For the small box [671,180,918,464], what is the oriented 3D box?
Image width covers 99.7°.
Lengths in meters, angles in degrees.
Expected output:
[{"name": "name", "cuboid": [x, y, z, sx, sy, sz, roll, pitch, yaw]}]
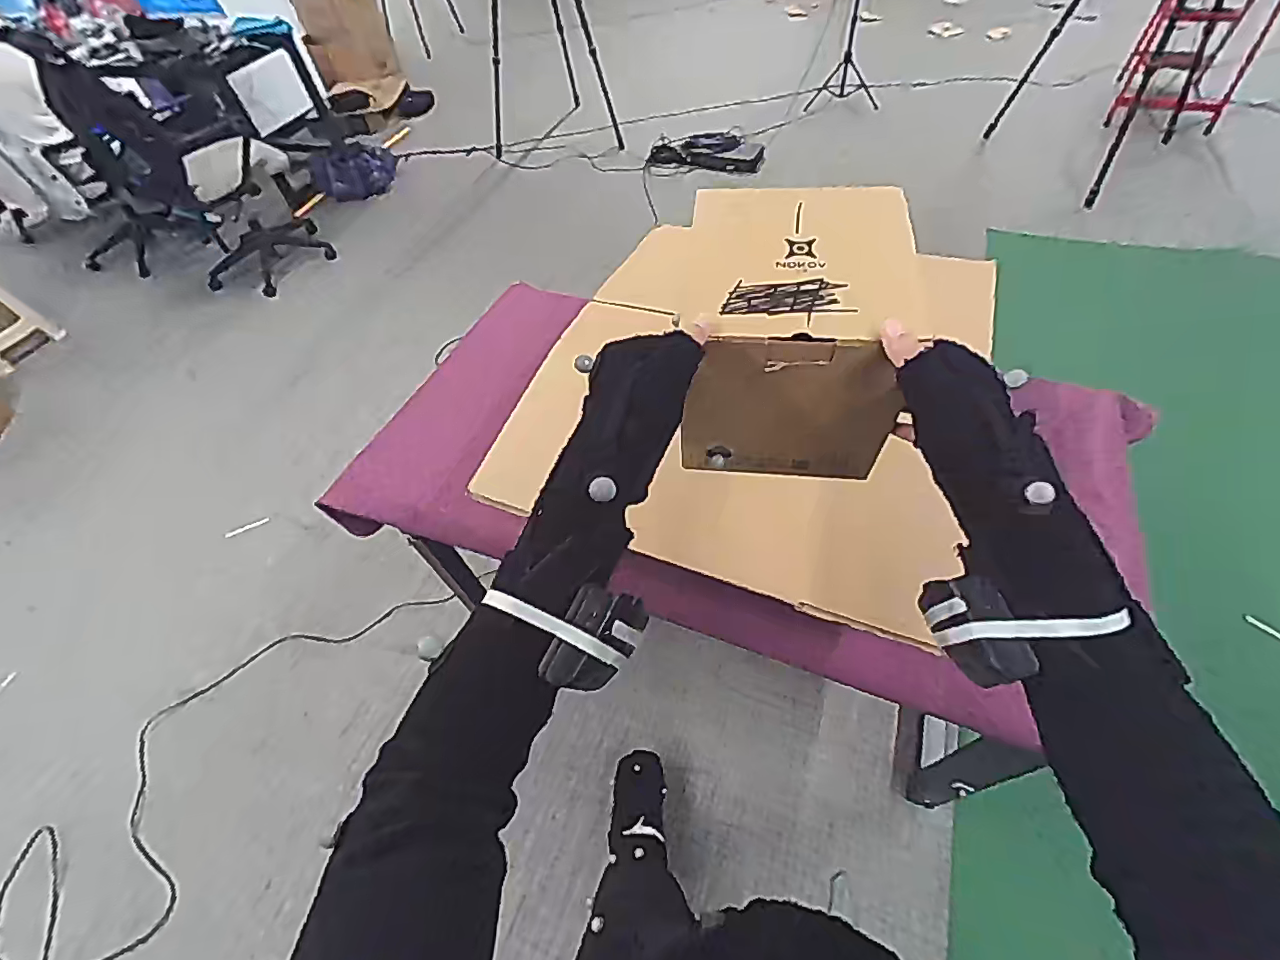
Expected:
[{"name": "small box", "cuboid": [0.121, -0.130, 0.472, 0.168, 0.176, 0.179, 4, 59, 8]}]
